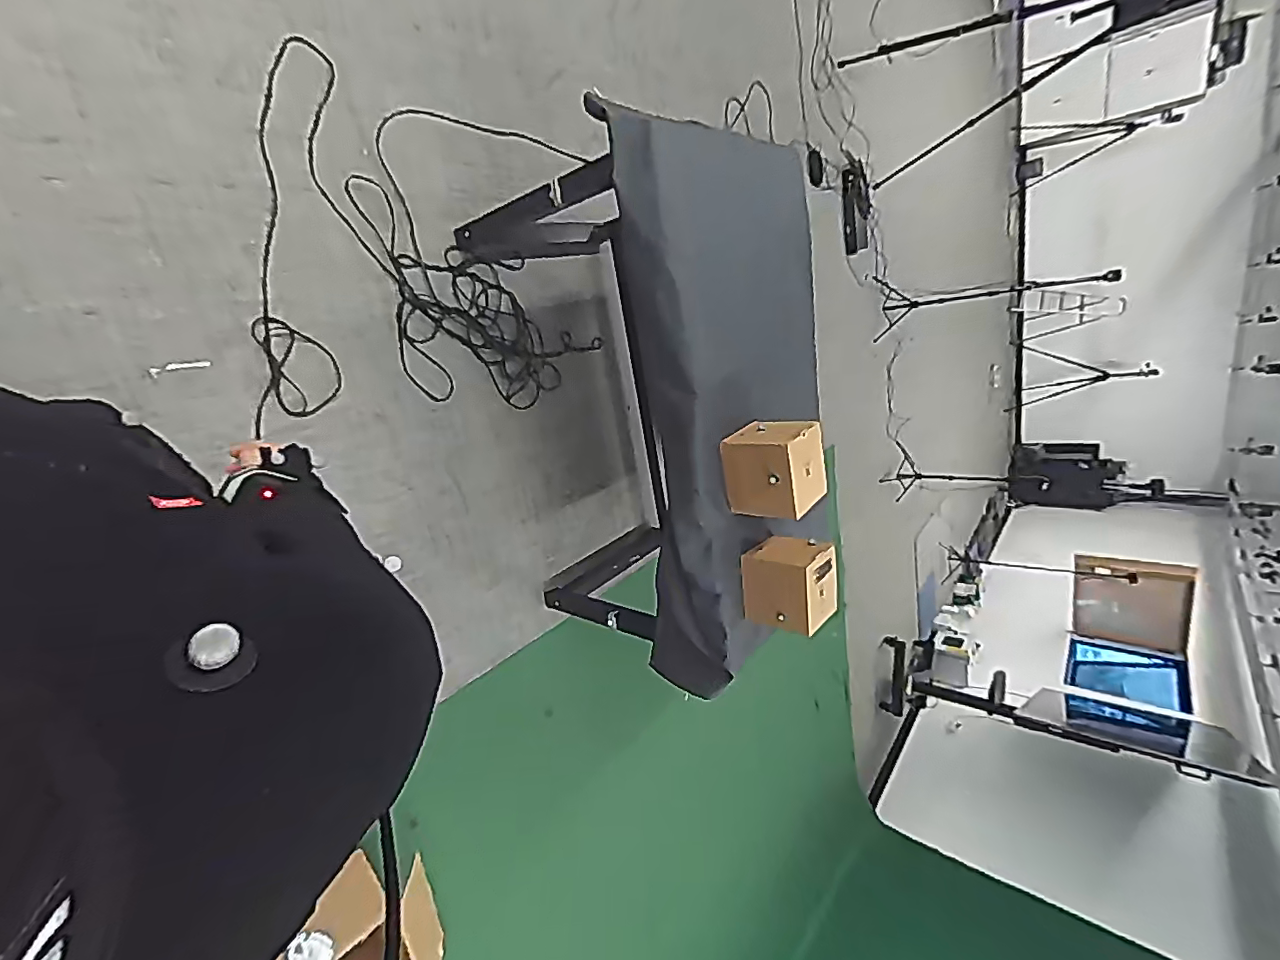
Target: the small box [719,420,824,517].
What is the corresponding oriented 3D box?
[{"bbox_3d":[0.301,-0.032,1.238,0.168,0.176,0.179,-30,115,-43],"label":"small box"}]
